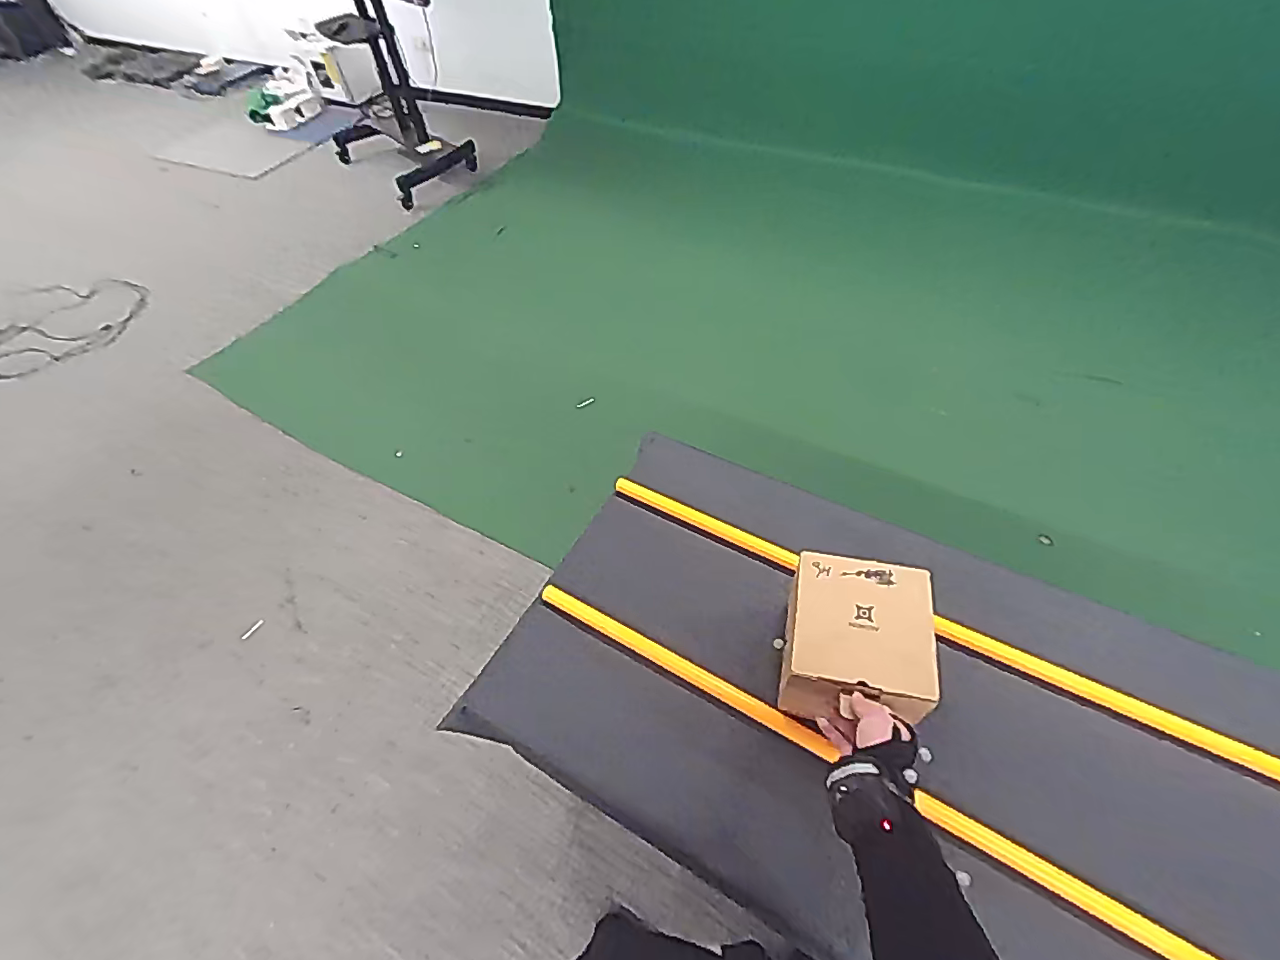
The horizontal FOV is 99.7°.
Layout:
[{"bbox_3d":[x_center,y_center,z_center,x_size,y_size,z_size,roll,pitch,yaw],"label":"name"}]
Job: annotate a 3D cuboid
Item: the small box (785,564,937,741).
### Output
[{"bbox_3d":[0.290,0.238,0.743,0.168,0.176,0.179,4,51,14],"label":"small box"}]
